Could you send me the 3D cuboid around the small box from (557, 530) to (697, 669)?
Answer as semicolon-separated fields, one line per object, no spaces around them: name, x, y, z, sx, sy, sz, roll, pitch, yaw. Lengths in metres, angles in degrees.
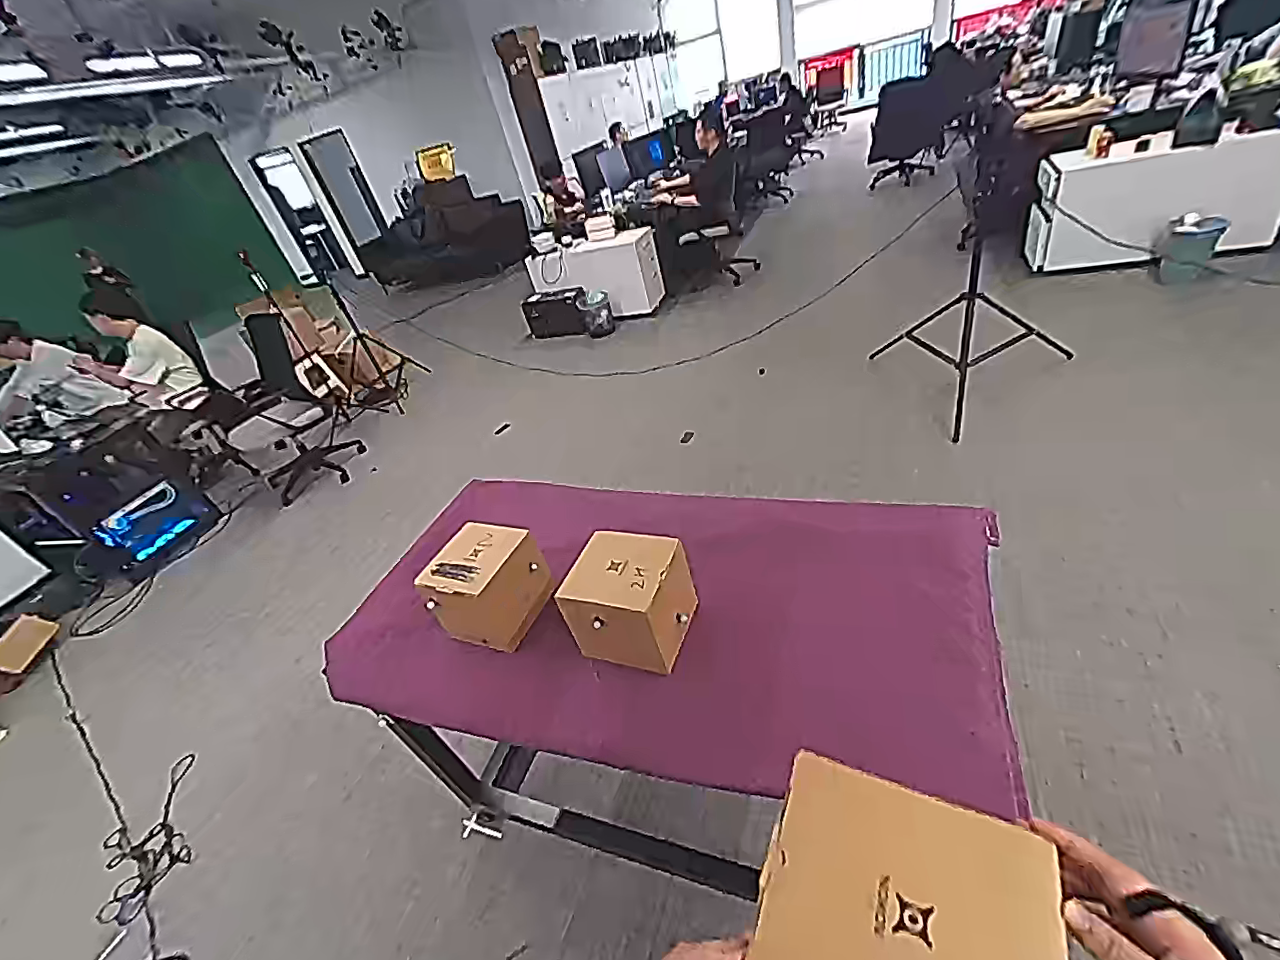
small box;-0.014;0.211;0.964;0.179;0.176;0.168;4;40;27
